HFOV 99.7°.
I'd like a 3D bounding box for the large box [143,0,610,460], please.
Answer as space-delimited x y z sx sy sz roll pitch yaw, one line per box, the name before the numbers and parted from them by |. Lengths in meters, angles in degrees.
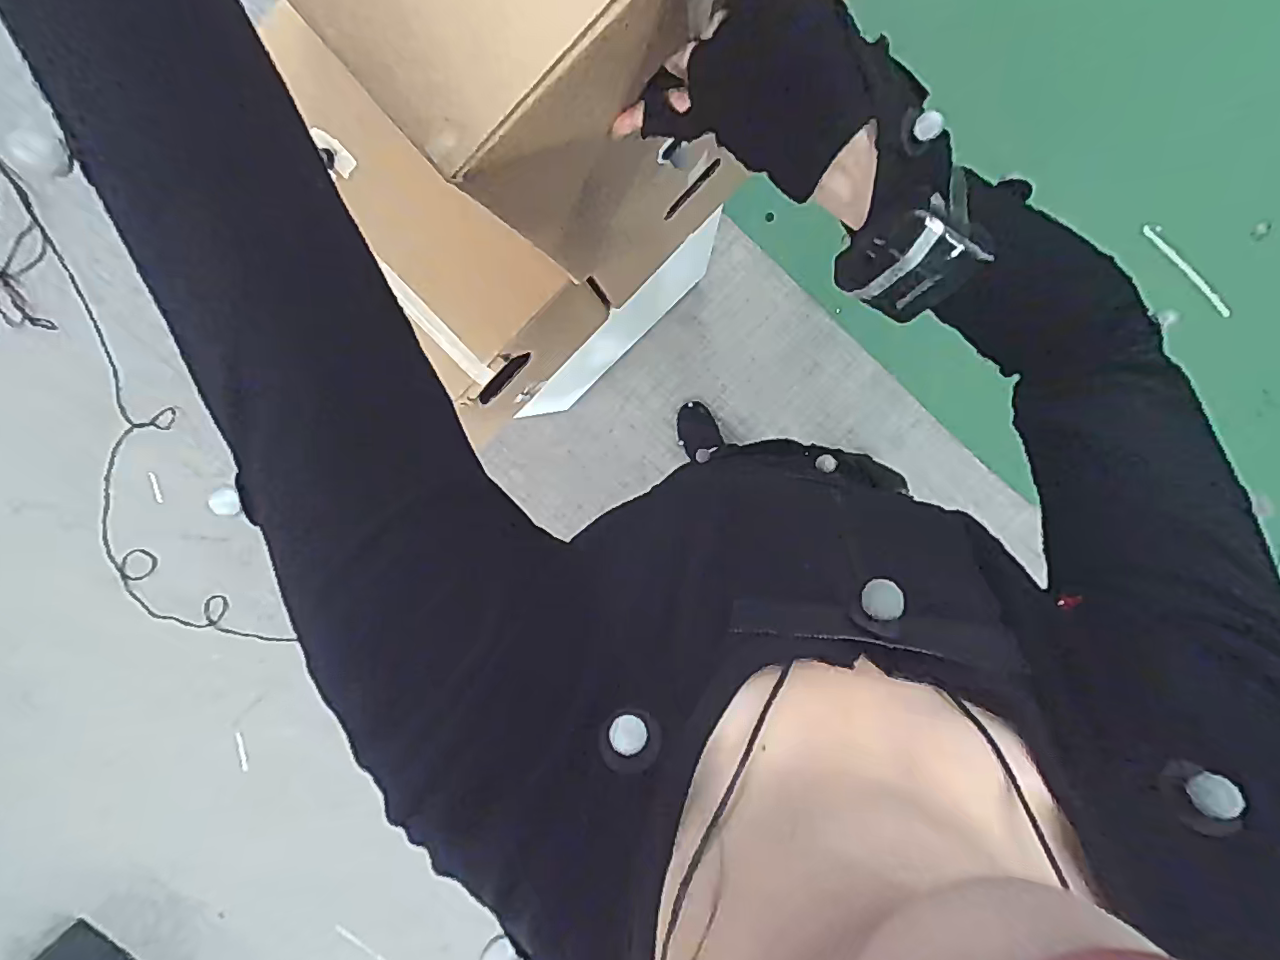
large box | -0.302 -0.283 0.737 0.320 0.320 0.408 -44 92 9
